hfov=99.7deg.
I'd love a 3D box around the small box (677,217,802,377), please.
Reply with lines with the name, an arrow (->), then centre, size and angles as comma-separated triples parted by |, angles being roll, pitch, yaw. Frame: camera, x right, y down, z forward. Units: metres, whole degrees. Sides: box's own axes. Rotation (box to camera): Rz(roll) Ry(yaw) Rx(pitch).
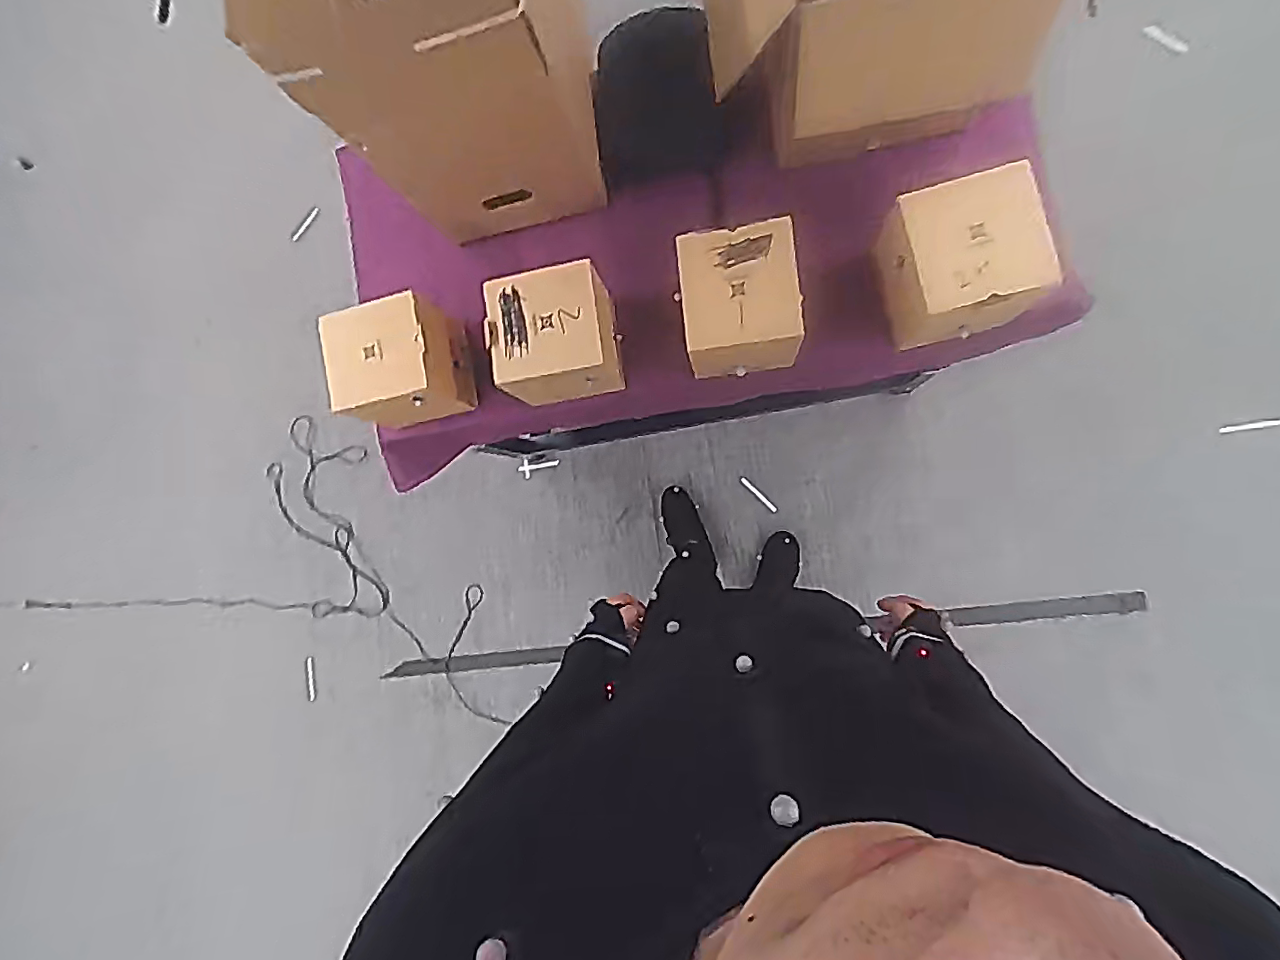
small box -> 0.153, -0.275, 0.848 | 0.168, 0.176, 0.179 | -6, 86, 10

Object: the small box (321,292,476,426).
small box -> -0.414, -0.200, 0.948 | 0.179, 0.176, 0.168 | -13, 85, 8

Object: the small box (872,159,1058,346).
small box -> 0.458, -0.319, 0.794 | 0.168, 0.176, 0.179 | -12, 85, 11
